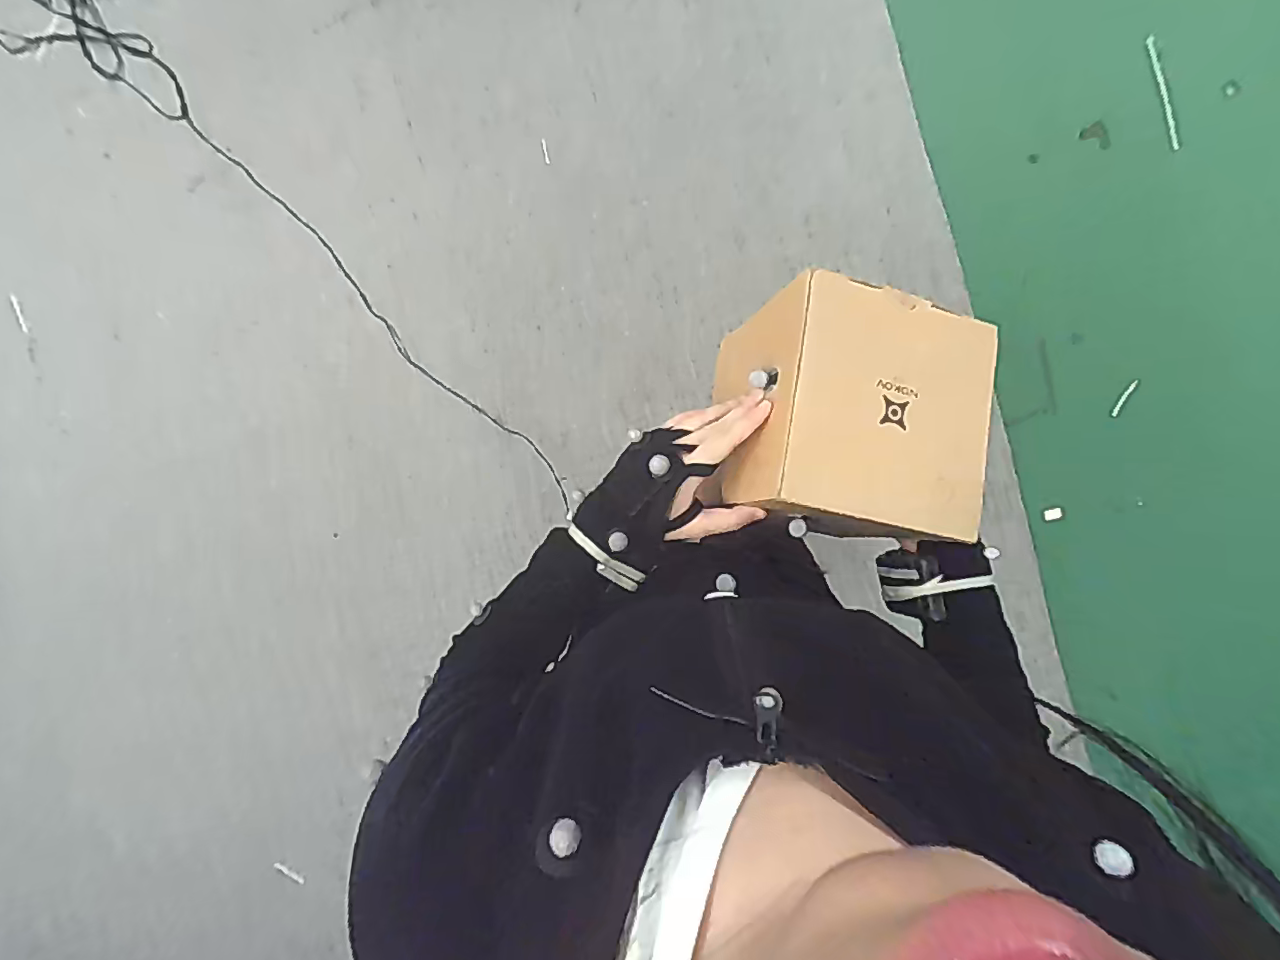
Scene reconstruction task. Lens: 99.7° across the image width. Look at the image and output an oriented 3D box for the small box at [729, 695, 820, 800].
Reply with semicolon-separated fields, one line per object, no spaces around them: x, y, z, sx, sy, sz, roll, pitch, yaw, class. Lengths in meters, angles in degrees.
0.350;0.699;1.441;0.168;0.176;0.179;-23;91;1;small box
